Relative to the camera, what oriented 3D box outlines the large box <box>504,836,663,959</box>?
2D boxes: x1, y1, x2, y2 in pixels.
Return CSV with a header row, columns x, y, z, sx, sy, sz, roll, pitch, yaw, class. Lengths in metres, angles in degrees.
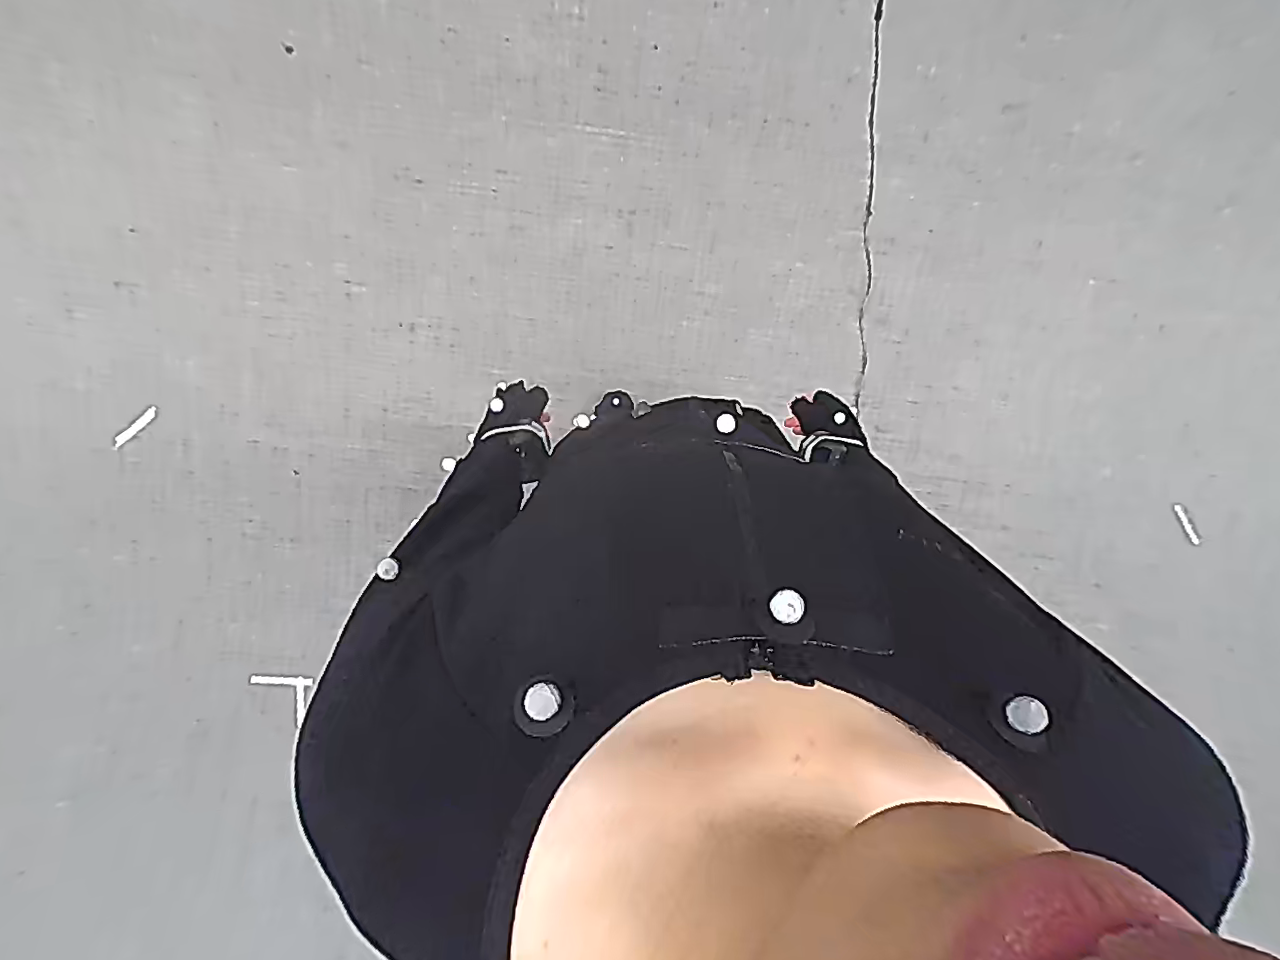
x,y,z,sx,sy,sz,roll,pitch,yaw,class
-0.159,1.269,1.532,0.408,0.320,0.320,6,98,-3,large box
